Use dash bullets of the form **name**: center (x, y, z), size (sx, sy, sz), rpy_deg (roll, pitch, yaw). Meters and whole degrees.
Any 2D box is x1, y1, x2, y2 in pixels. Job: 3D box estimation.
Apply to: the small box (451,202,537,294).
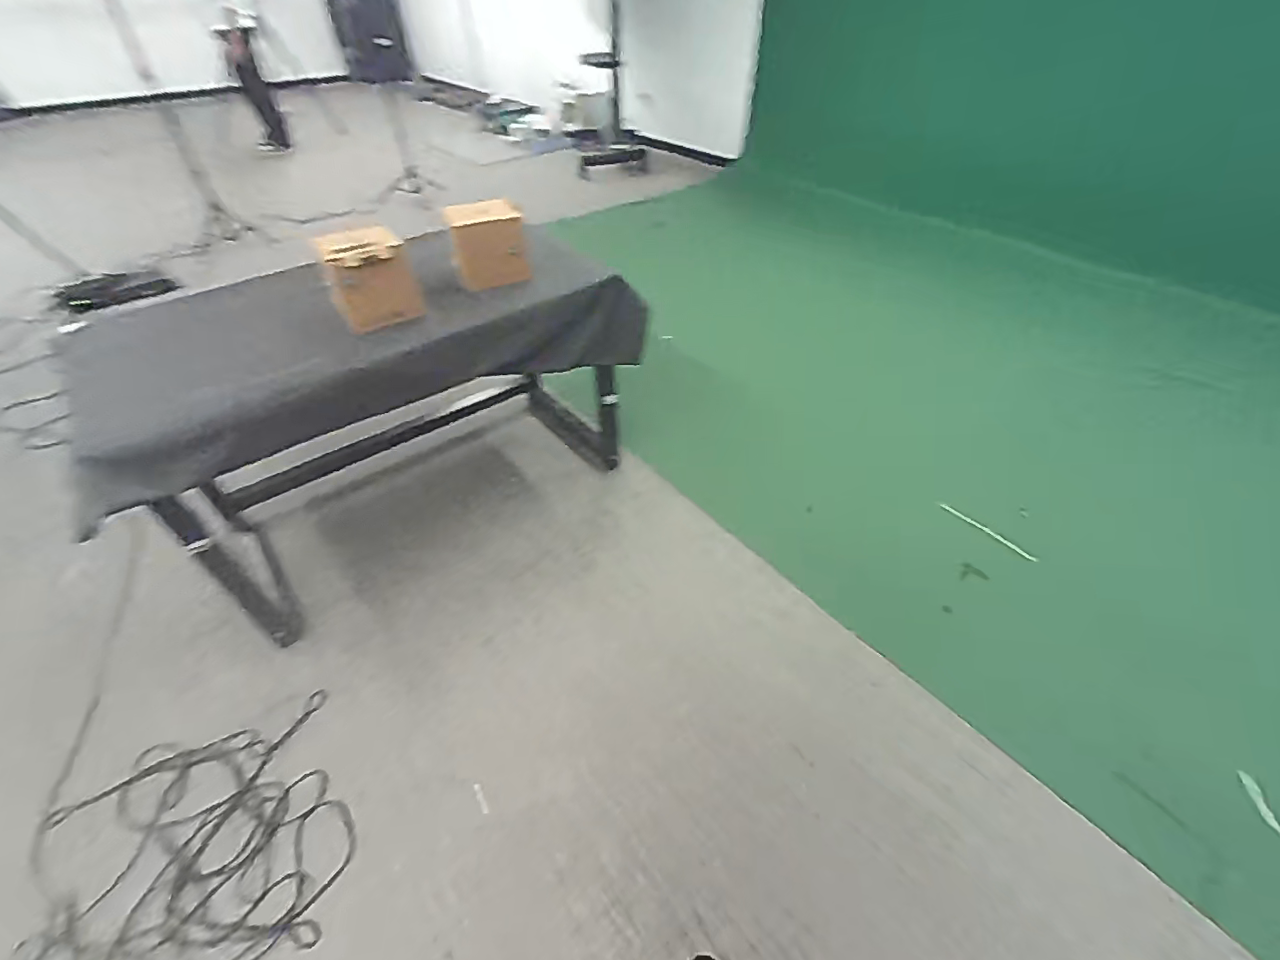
- **small box**: center (-0.383, -0.618, 1.441), size (0.179, 0.176, 0.168), rpy_deg (-19, 45, -17)
